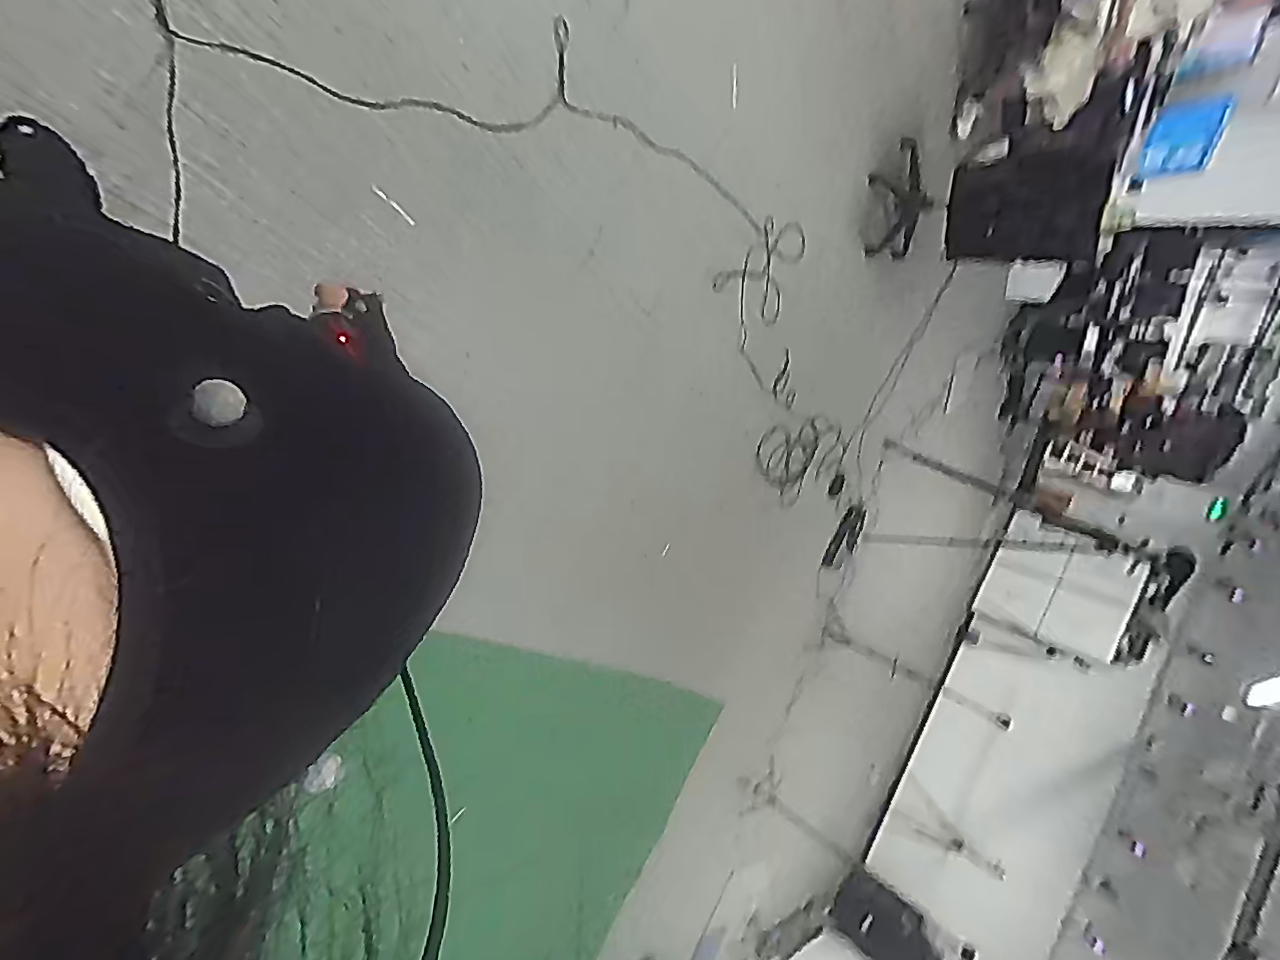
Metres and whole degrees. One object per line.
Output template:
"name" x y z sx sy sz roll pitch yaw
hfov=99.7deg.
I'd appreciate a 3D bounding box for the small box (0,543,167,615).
"small box" -0.964 0.227 0.923 0.179 0.176 0.168 39 77 -46
